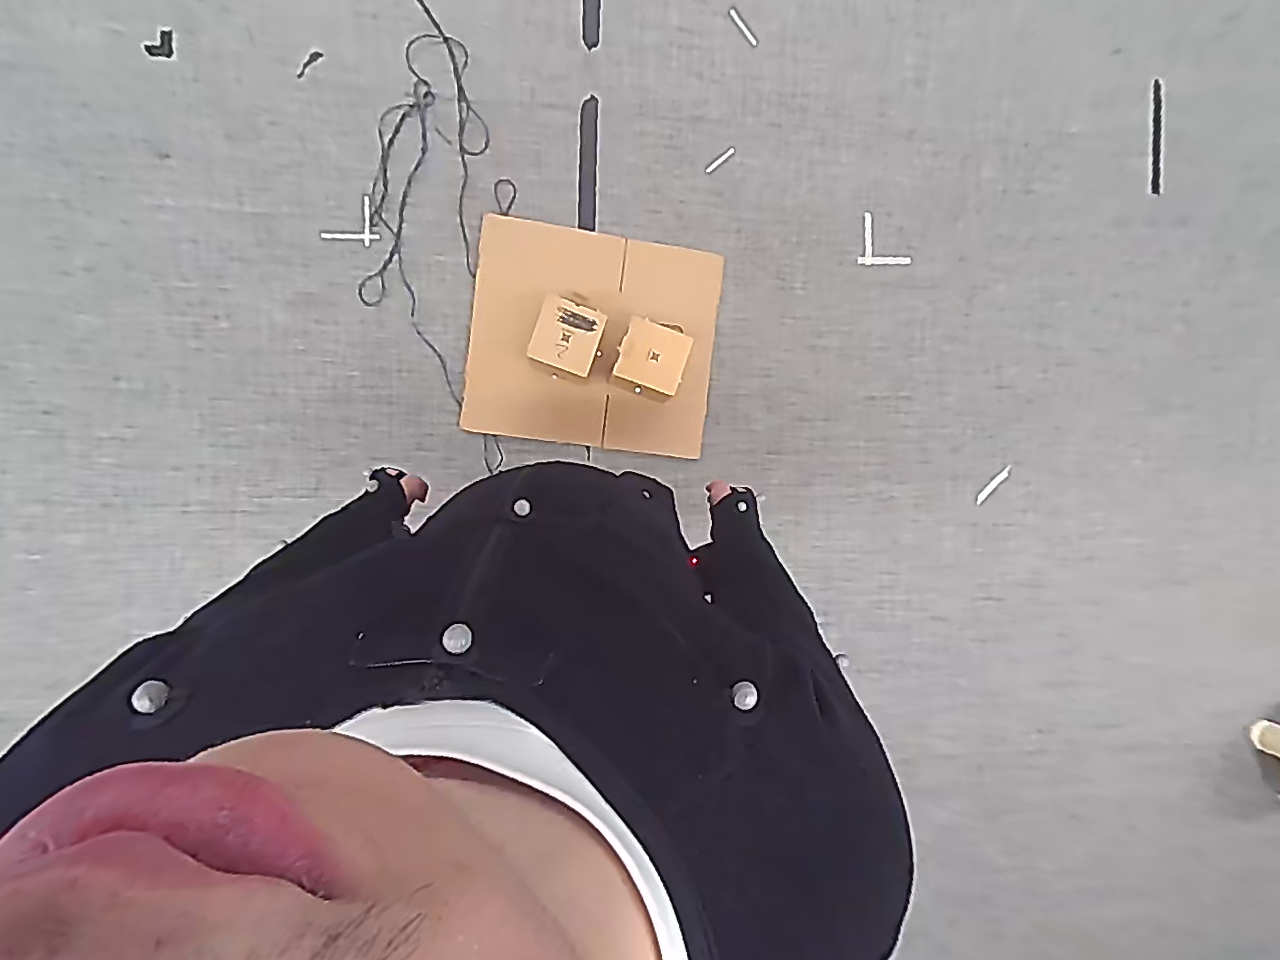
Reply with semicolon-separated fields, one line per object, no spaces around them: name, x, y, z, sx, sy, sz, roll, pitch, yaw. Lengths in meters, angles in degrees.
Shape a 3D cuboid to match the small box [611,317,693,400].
small box;0.028;-0.330;1.510;0.179;0.176;0.168;19;89;-6
